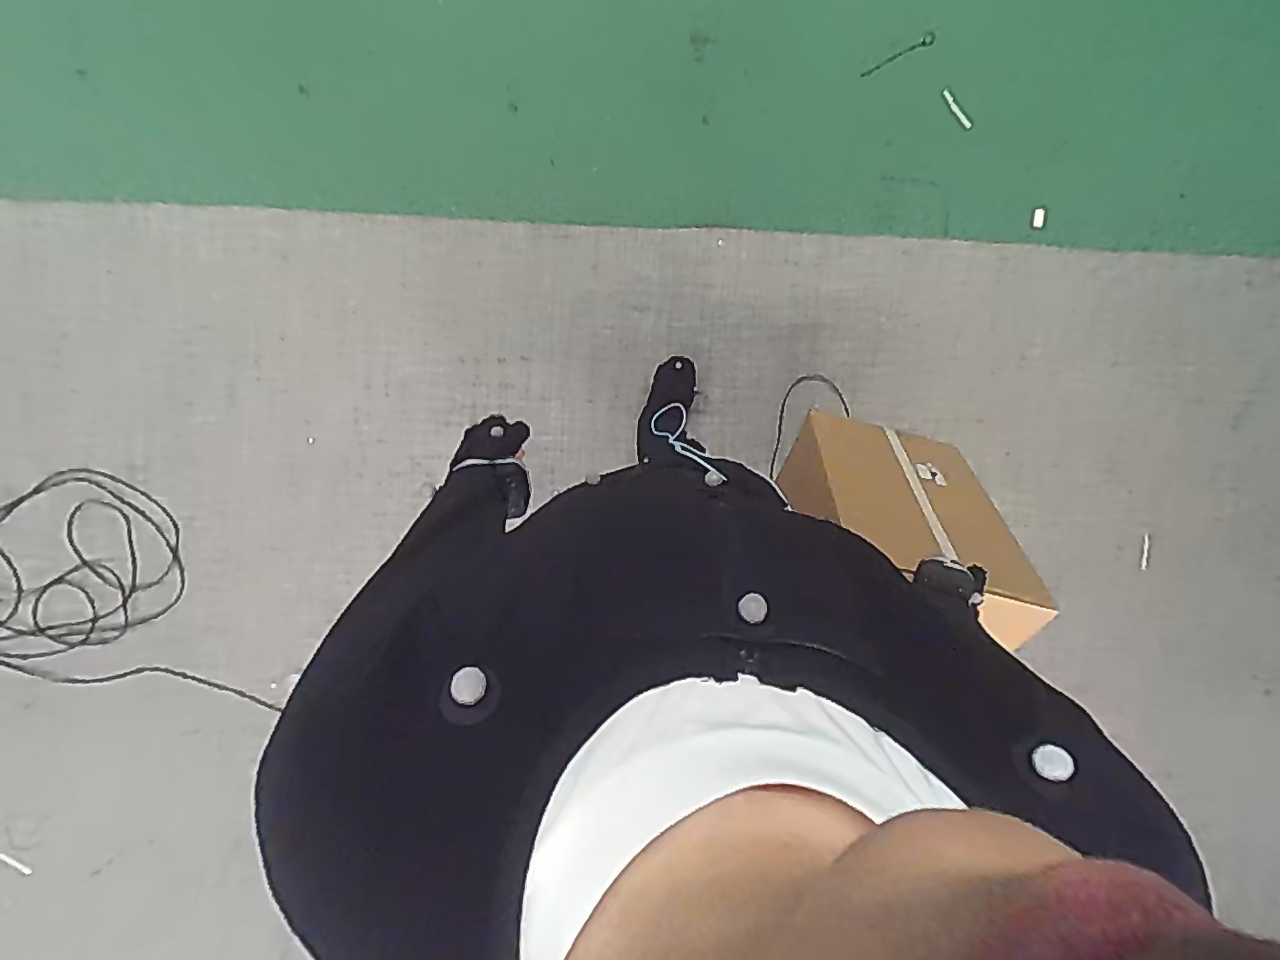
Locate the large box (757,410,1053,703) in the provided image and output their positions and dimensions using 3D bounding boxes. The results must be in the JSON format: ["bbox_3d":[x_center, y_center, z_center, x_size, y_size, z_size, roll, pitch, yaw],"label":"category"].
[{"bbox_3d":[0.424,0.131,0.998,0.320,0.408,0.320,15,128,-4],"label":"large box"}]
